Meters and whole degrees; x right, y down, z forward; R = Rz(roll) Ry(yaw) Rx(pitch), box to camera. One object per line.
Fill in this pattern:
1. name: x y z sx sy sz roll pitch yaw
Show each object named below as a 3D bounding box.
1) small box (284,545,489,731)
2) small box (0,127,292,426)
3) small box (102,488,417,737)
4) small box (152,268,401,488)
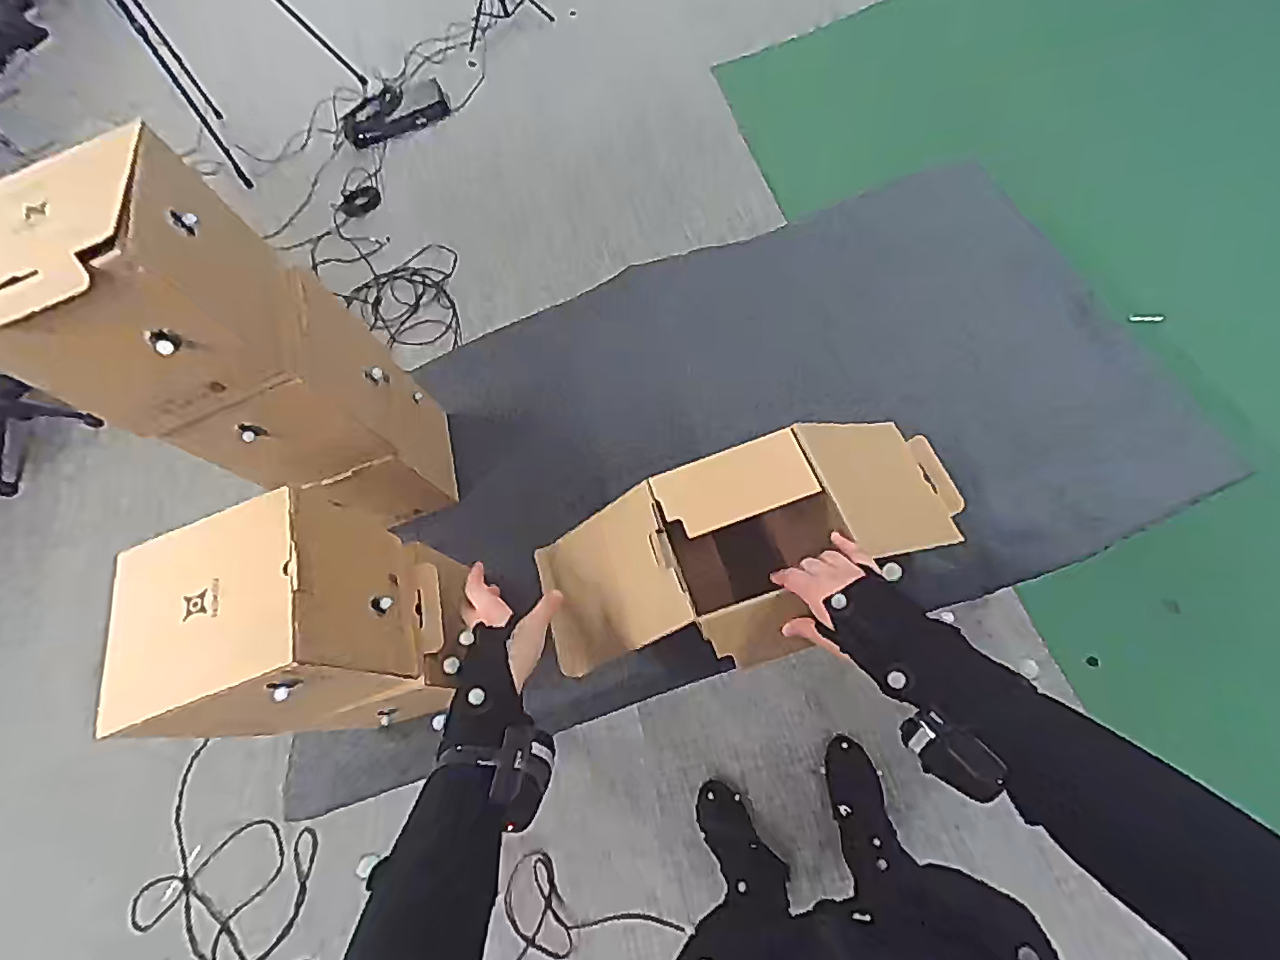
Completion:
1. small box: -0.301 0.200 0.669 0.179 0.176 0.168 -18 64 5
2. small box: -0.457 -0.171 0.502 0.168 0.176 0.179 -22 63 1
3. small box: -0.349 0.138 0.526 0.179 0.176 0.168 -22 64 2
4. small box: -0.417 -0.109 0.648 0.179 0.176 0.168 -19 65 4
